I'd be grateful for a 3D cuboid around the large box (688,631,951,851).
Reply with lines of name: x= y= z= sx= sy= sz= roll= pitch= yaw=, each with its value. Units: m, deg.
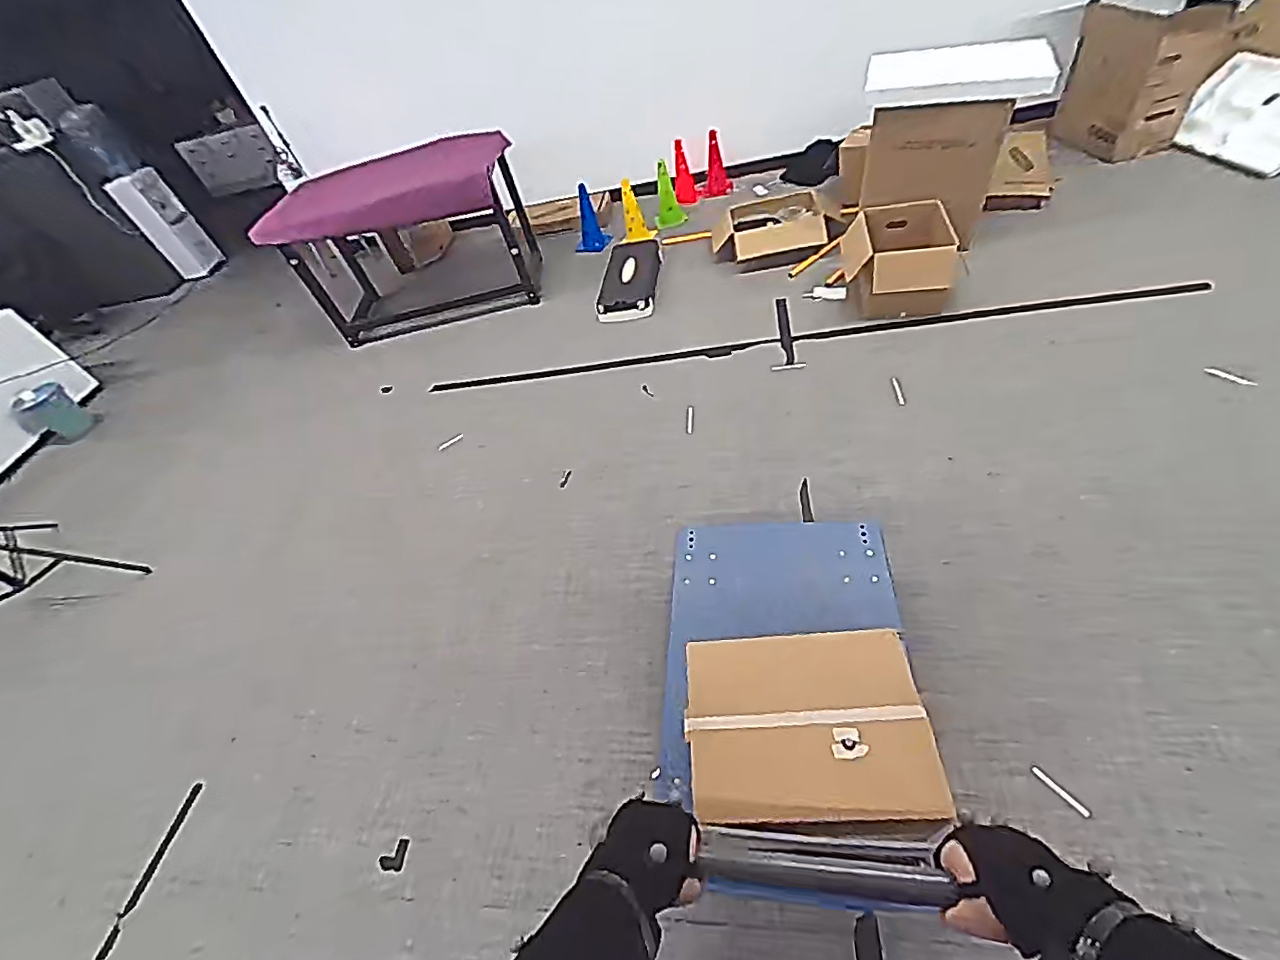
large box: x=0.318 y=0.526 z=1.074 sx=0.408 sy=0.320 sz=0.320 roll=-7 pitch=49 yaw=8
